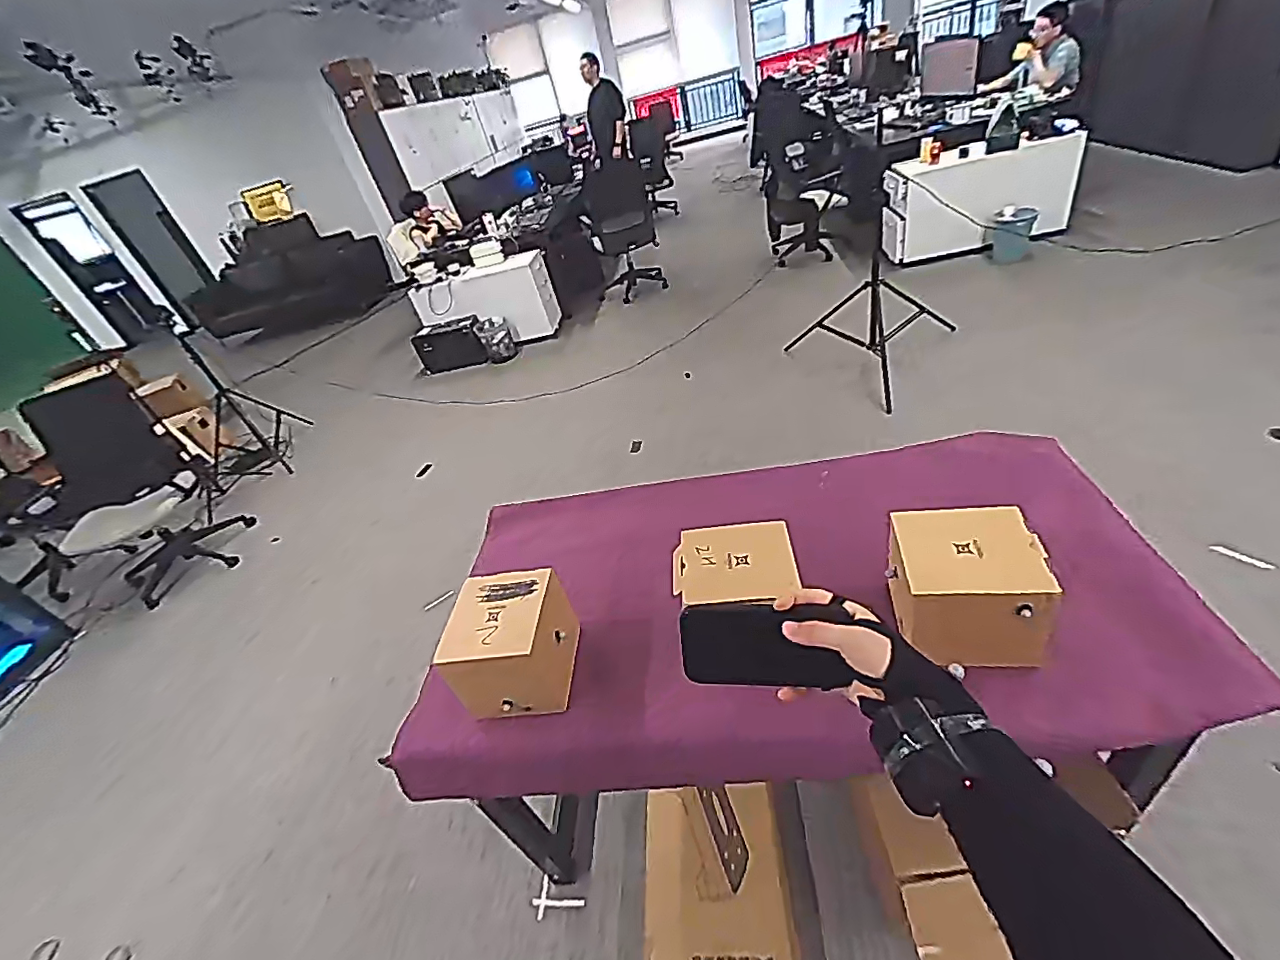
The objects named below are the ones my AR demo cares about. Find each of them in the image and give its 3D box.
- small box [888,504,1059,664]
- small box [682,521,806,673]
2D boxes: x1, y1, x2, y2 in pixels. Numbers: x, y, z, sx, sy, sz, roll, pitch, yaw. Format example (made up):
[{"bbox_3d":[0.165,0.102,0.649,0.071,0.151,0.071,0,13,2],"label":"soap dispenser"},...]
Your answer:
[{"bbox_3d":[0.475,0.156,0.803,0.179,0.176,0.168,-5,38,16],"label":"small box"},{"bbox_3d":[0.167,0.191,0.878,0.179,0.176,0.168,-10,34,10],"label":"small box"}]
